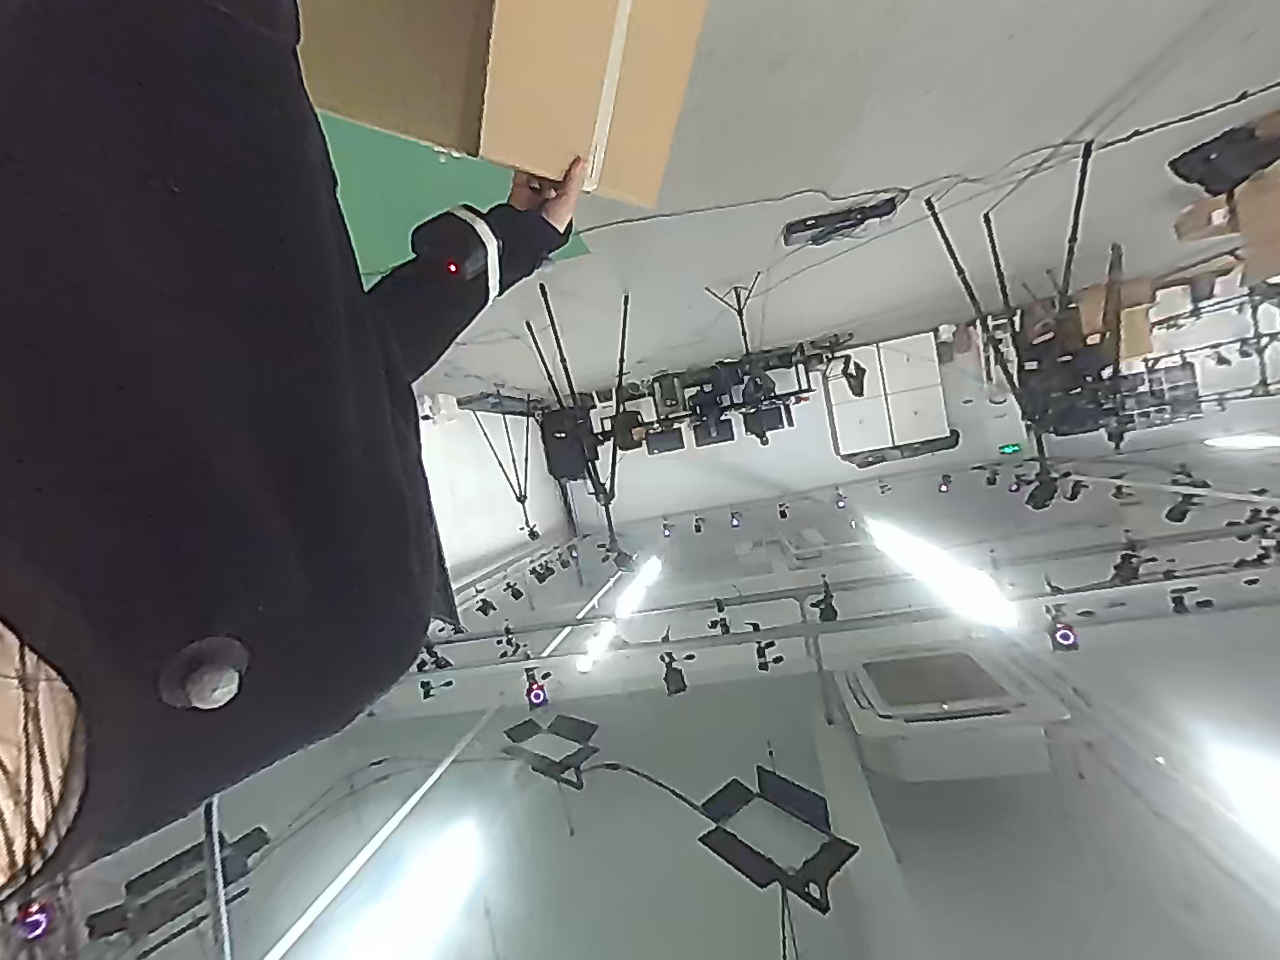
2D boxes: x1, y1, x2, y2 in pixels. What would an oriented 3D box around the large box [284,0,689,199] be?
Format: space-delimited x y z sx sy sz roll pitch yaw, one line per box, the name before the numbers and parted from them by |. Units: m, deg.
large box | -0.150 -0.569 0.580 0.320 0.408 0.320 28 -151 23
